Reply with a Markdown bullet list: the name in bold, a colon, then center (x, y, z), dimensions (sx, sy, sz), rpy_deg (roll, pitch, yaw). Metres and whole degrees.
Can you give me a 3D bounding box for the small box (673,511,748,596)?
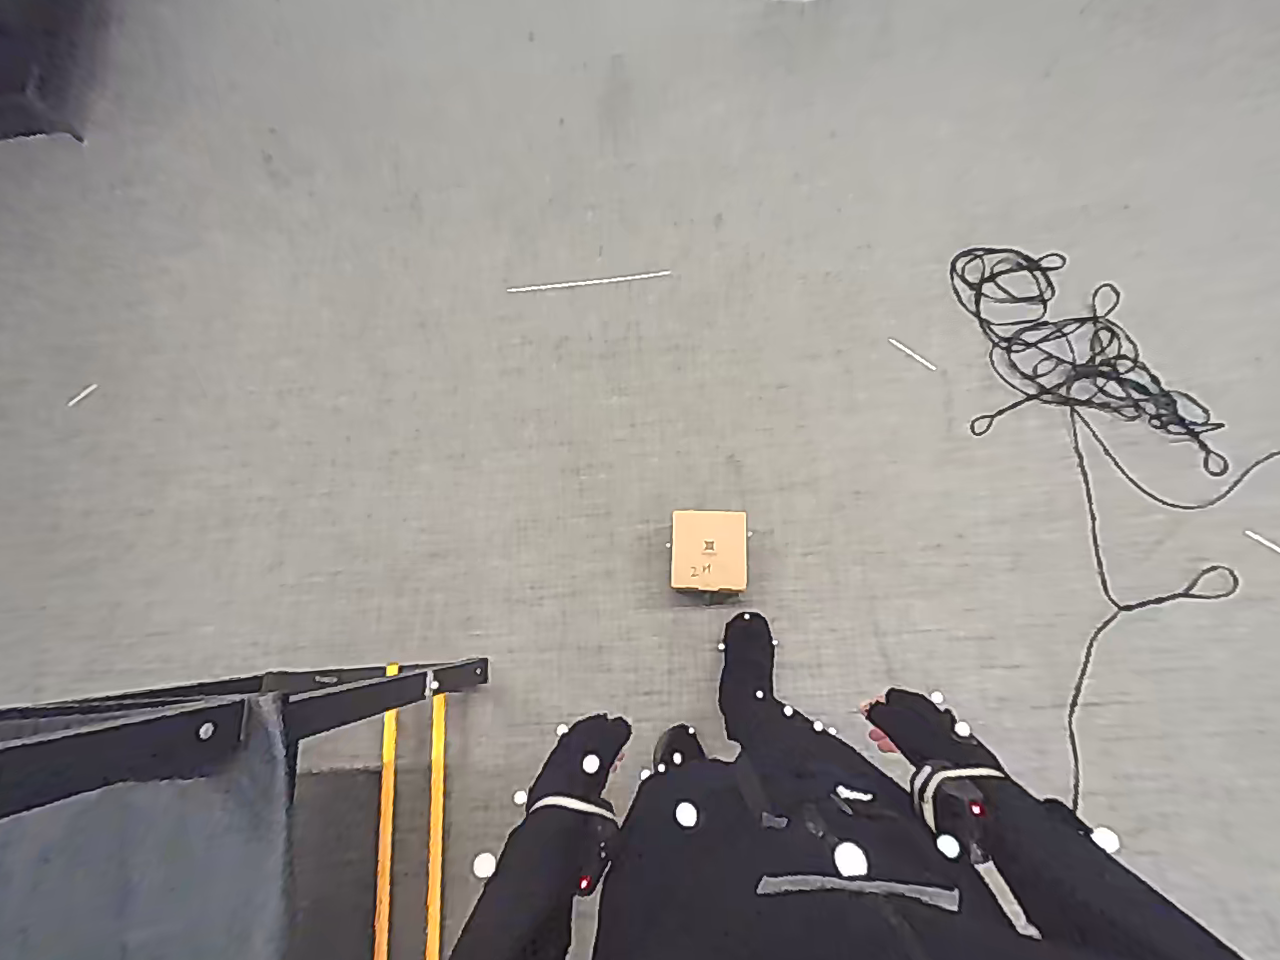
- **small box**: center (0.164, 0.178, 1.279), dimensions (0.168, 0.176, 0.179), rpy_deg (1, 76, 6)
